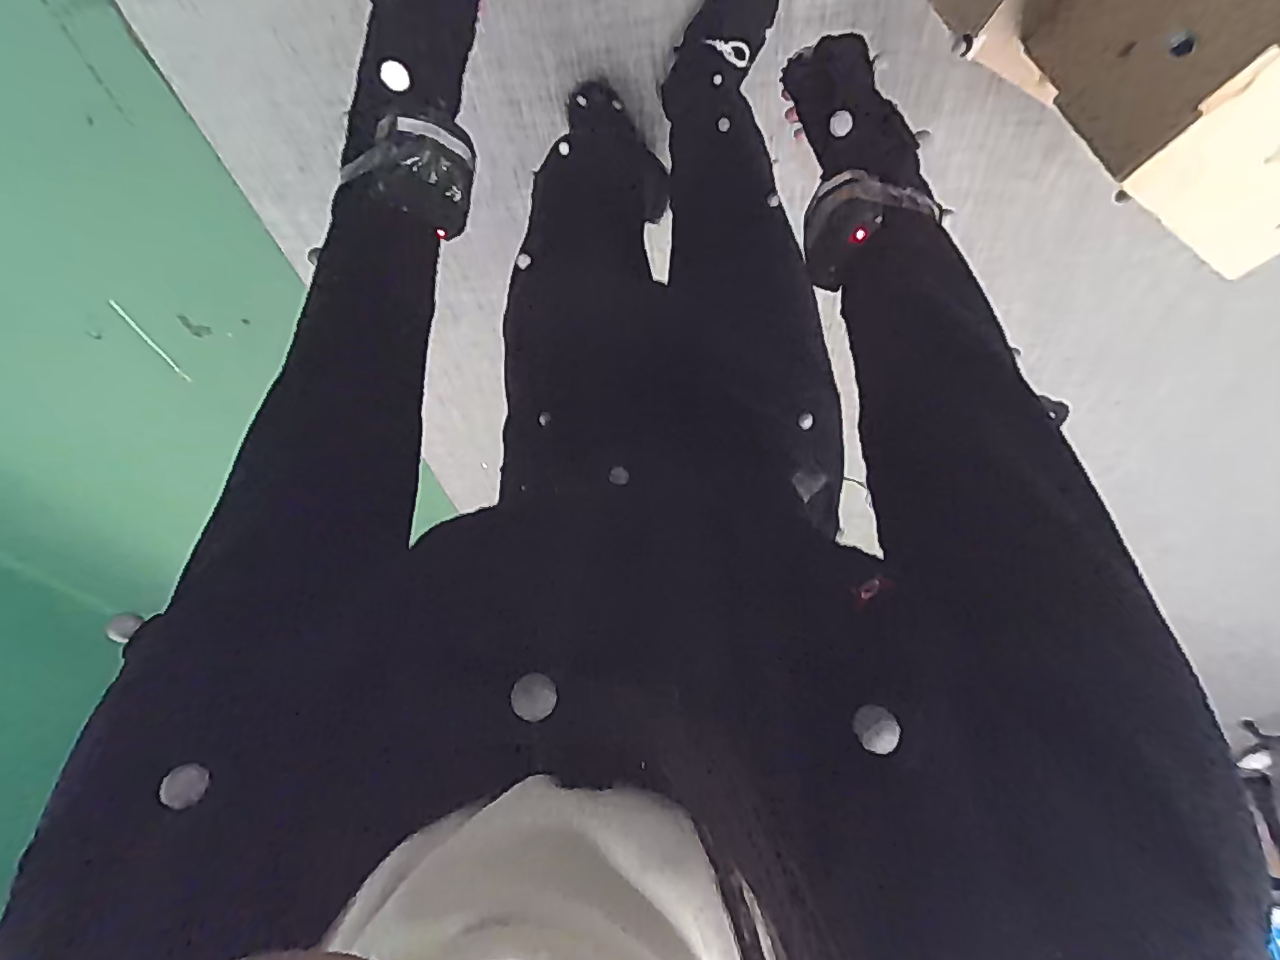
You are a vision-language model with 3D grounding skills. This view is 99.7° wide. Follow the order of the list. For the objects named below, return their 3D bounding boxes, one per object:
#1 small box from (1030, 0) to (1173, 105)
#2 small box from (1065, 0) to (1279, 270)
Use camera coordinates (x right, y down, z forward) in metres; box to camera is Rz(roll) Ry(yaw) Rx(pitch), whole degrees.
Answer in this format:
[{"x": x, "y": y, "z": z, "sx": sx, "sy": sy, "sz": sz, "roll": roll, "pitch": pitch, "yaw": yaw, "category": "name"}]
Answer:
[{"x": 0.548, "y": -0.460, "z": 0.547, "sx": 0.168, "sy": 0.176, "sz": 0.179, "roll": 21, "pitch": 143, "yaw": -14, "category": "small box"}, {"x": 0.521, "y": -0.324, "z": 0.462, "sx": 0.179, "sy": 0.176, "sz": 0.168, "roll": 21, "pitch": 140, "yaw": -14, "category": "small box"}]
